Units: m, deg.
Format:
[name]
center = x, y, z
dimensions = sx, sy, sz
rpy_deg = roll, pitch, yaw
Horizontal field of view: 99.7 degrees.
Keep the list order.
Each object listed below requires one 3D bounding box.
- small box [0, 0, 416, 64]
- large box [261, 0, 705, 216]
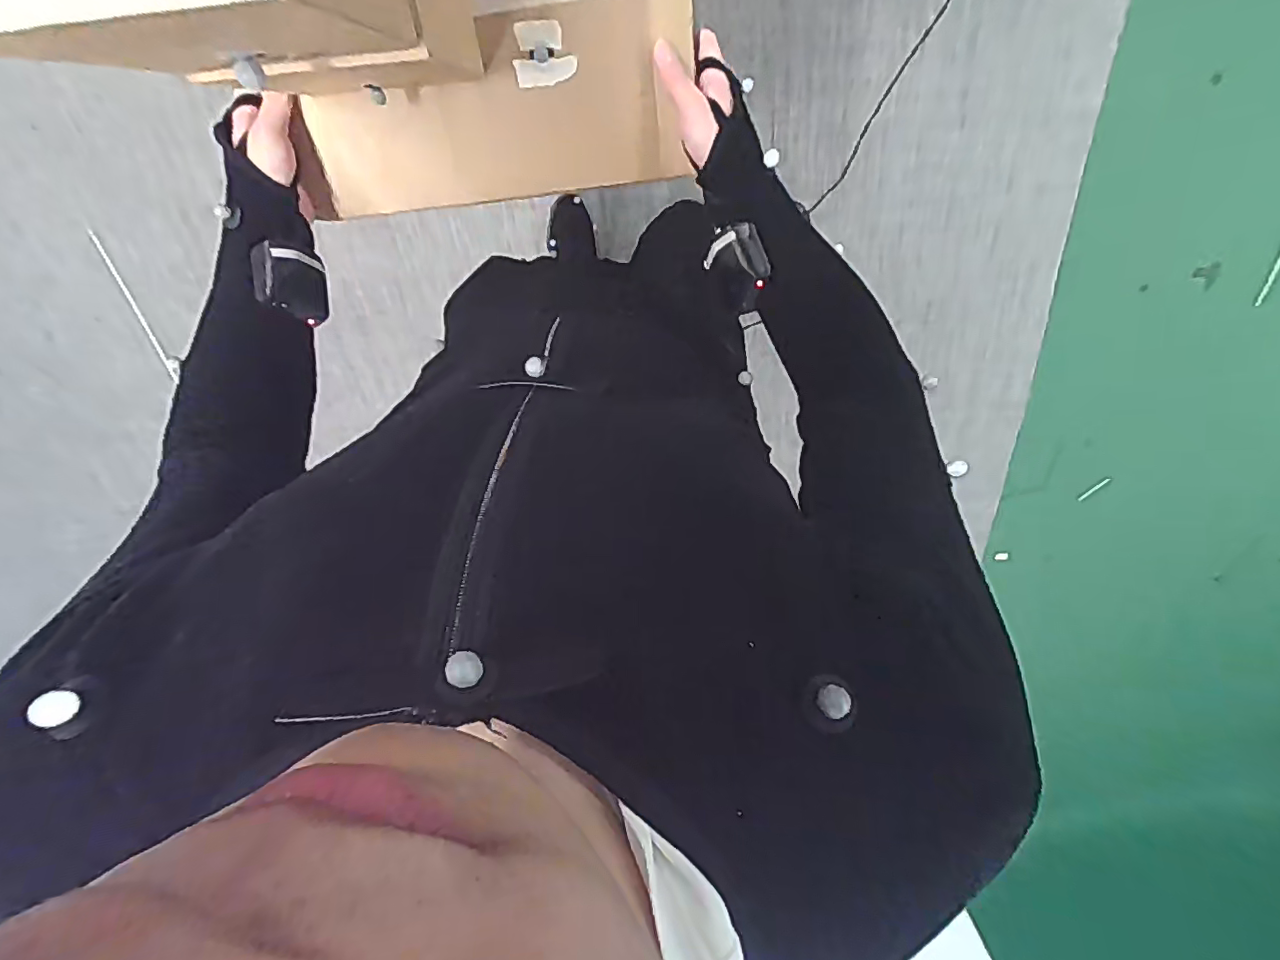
[small box]
center = -0.225, -0.306, 0.236
dimensions = 0.168, 0.176, 0.179
rpy_deg = -5, 124, 2
[large box]
center = -0.156, -0.506, 0.596
dimensions = 0.408, 0.320, 0.320
rpy_deg = -7, 124, 2
